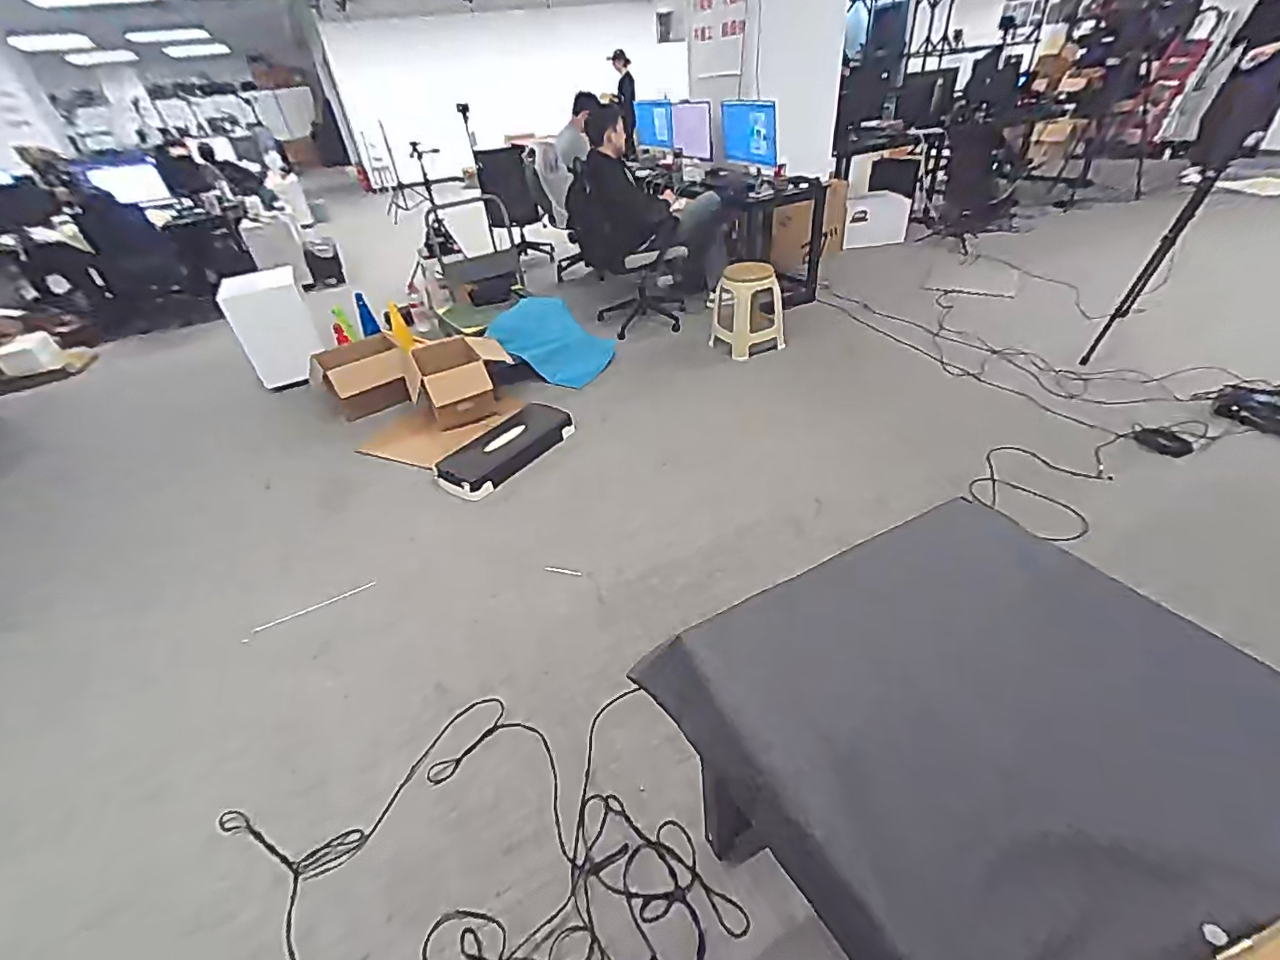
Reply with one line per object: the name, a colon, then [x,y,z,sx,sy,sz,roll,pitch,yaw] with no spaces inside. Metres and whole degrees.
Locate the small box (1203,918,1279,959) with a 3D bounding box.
small box: [0.515,0.416,0.366,0.168,0.176,0.179,-15,37,-13]
